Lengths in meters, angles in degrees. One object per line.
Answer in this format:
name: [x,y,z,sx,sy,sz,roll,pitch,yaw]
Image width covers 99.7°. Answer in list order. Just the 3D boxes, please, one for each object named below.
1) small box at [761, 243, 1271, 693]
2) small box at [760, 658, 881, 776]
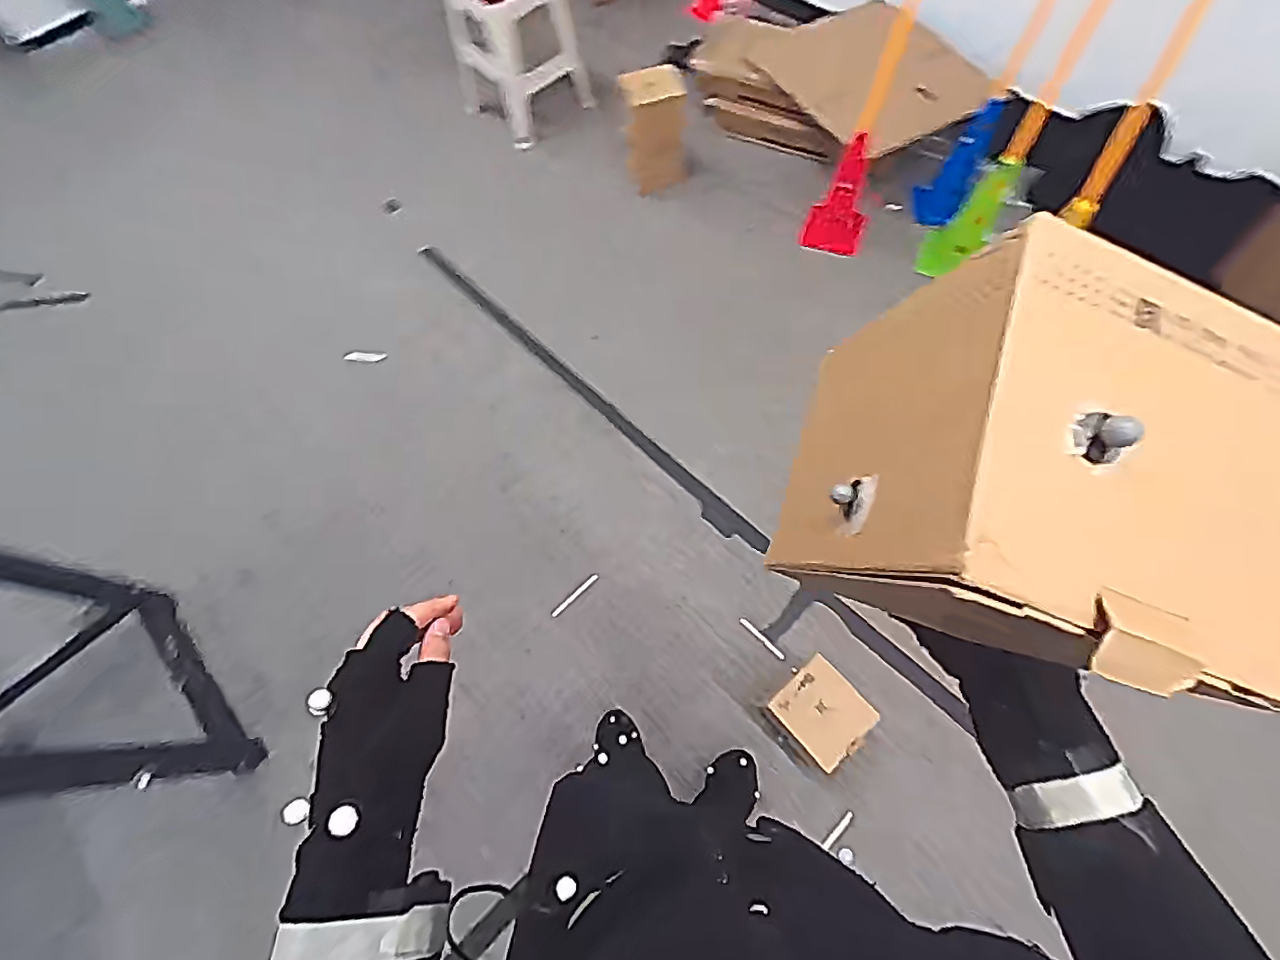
small box: [0.197,0.000,0.315,0.168,0.179,0.176,20,79,-9]
small box: [0.396,0.525,1.218,0.168,0.176,0.179,-38,71,-13]
